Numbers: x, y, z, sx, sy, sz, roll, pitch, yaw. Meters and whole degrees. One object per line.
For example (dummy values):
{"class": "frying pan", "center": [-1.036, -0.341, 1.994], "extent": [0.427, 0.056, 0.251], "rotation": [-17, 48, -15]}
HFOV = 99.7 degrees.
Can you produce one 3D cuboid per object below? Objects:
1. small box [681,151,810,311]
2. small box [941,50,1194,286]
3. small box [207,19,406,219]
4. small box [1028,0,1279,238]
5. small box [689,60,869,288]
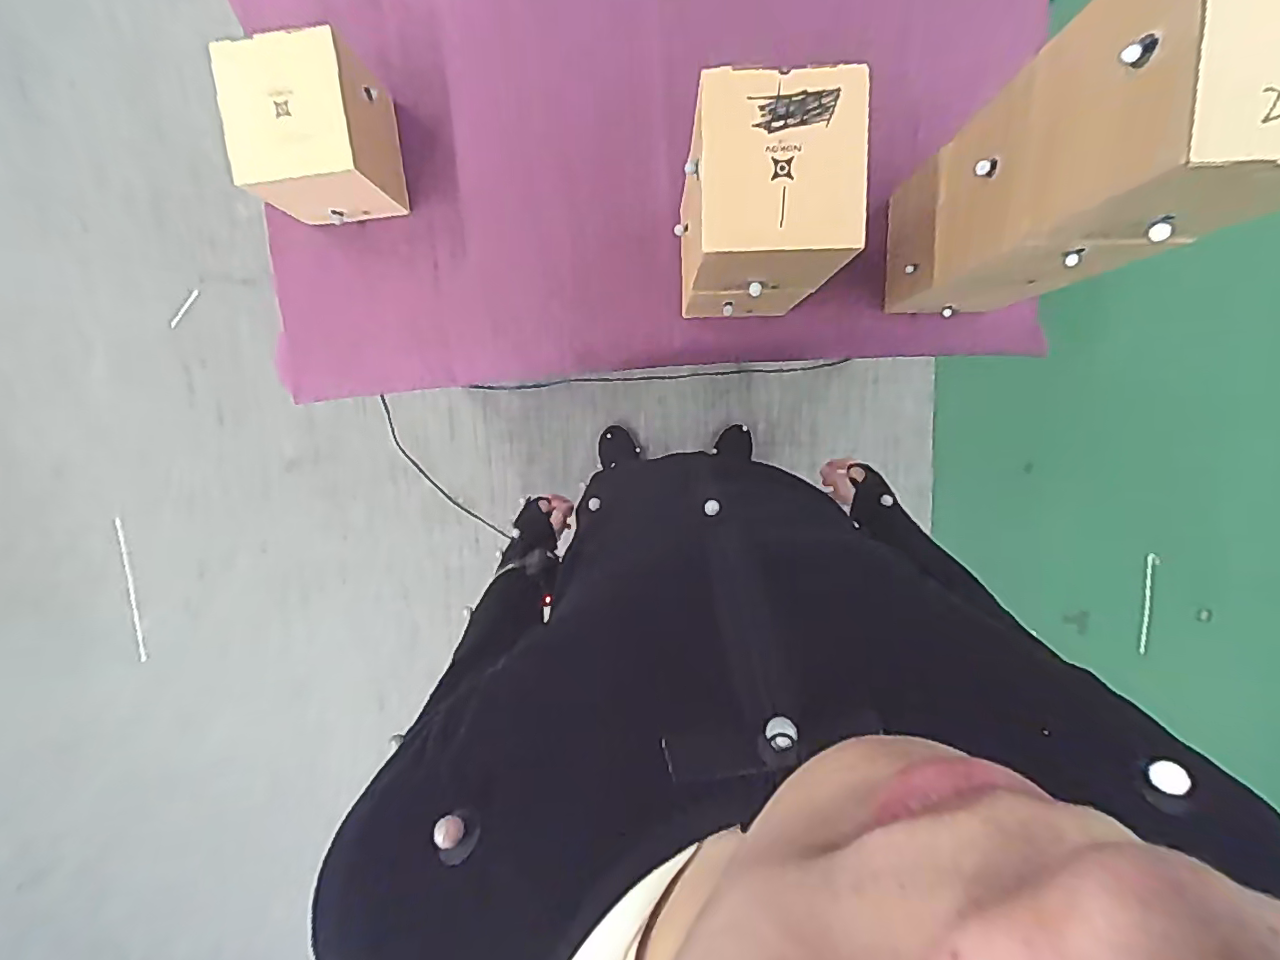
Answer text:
{"class": "small box", "center": [0.146, -0.343, 0.775], "extent": [0.168, 0.176, 0.179], "rotation": [-1, 96, 2]}
{"class": "small box", "center": [0.459, -0.328, 0.599], "extent": [0.168, 0.176, 0.179], "rotation": [1, 96, 3]}
{"class": "small box", "center": [-0.458, -0.498, 0.771], "extent": [0.168, 0.176, 0.179], "rotation": [-5, 98, 3]}
{"class": "small box", "center": [0.452, -0.313, 0.434], "extent": [0.168, 0.176, 0.179], "rotation": [0, 97, 3]}
{"class": "small box", "center": [0.142, -0.328, 0.611], "extent": [0.168, 0.176, 0.179], "rotation": [0, 97, 2]}
